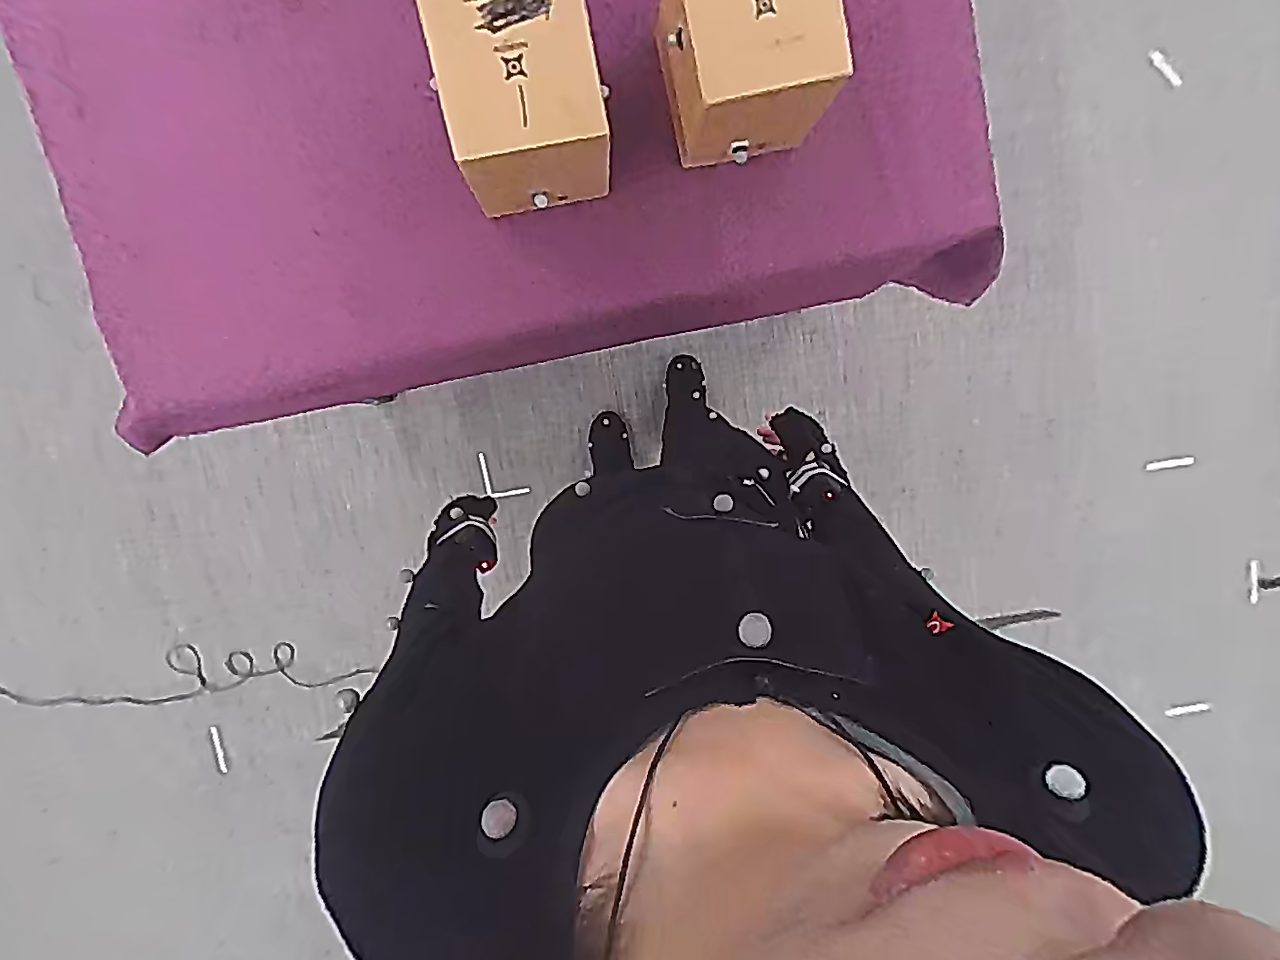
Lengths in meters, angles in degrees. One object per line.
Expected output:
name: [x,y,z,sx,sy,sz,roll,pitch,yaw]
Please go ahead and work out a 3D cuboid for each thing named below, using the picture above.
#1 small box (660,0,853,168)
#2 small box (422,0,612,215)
small box: [0.125,-0.510,0.640,0.168,0.176,0.179,-14,98,-1]
small box: [-0.132,-0.440,0.629,0.168,0.176,0.179,-12,98,-2]
